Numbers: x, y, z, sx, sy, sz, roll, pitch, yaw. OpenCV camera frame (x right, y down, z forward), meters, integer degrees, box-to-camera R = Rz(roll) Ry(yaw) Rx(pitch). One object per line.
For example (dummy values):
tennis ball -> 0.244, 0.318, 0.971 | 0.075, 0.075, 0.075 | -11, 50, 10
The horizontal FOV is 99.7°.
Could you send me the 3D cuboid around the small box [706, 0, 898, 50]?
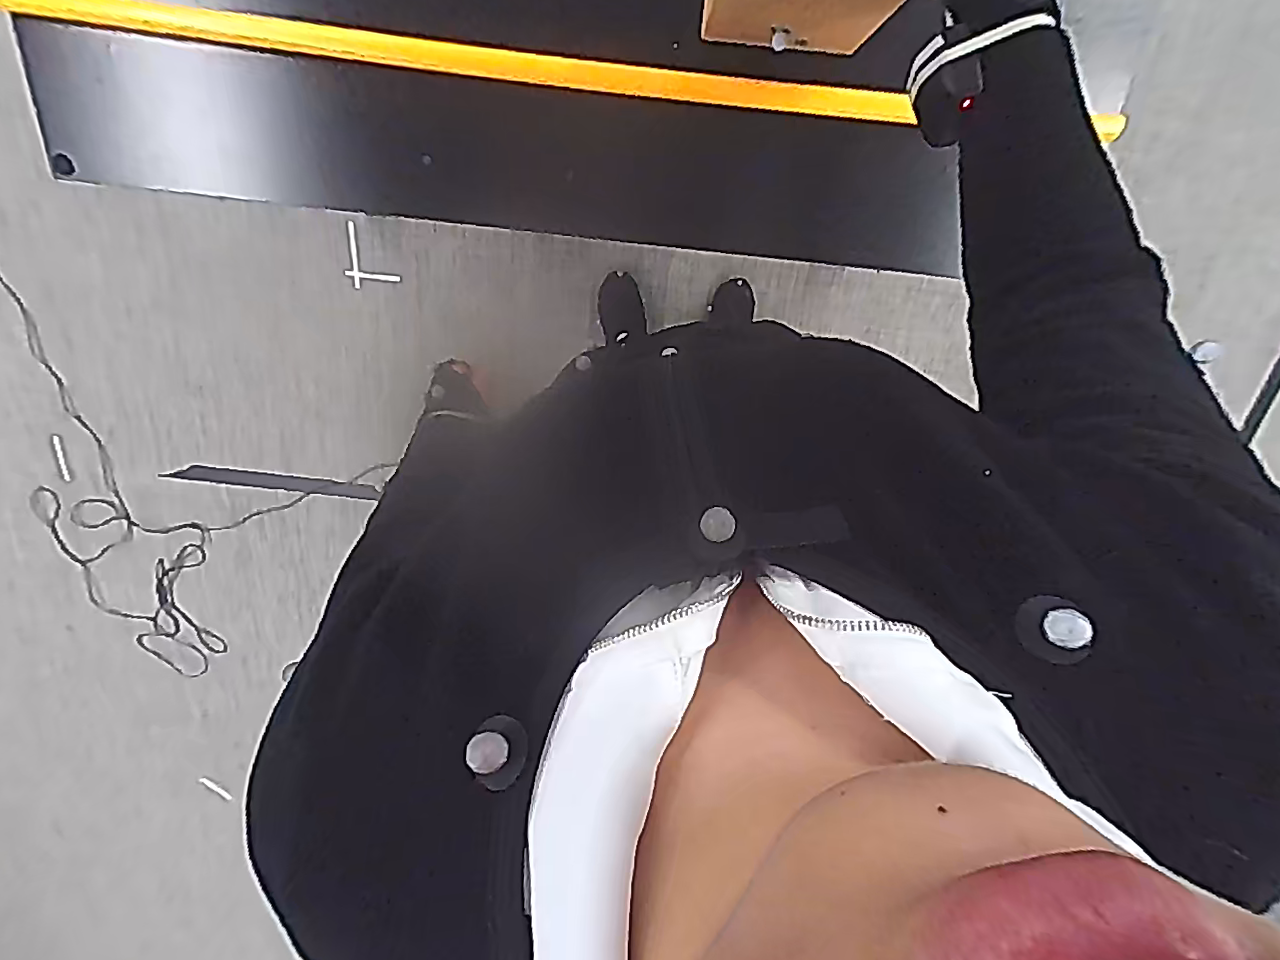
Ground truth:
small box -> 0.156, -0.524, 0.479 | 0.168, 0.176, 0.179 | 5, 113, -1
